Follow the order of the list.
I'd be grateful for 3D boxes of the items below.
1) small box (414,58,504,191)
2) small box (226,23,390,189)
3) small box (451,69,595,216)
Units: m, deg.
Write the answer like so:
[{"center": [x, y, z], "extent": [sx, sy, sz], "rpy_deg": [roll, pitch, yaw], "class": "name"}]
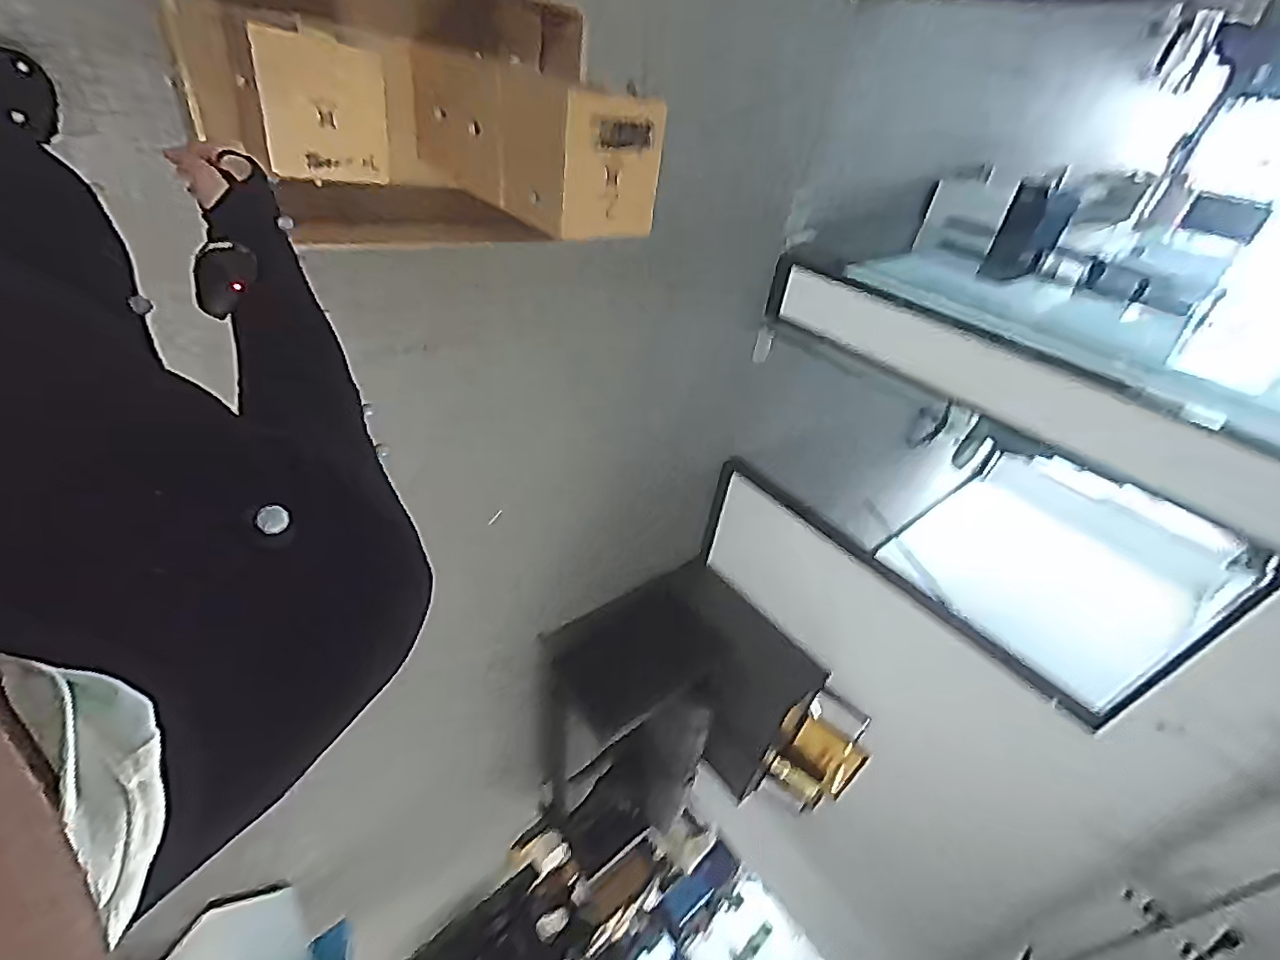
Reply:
[{"center": [-0.296, -0.639, 0.985], "extent": [0.168, 0.176, 0.179], "rpy_deg": [-19, 136, -37], "class": "small box"}, {"center": [-0.500, -0.563, 0.822], "extent": [0.168, 0.176, 0.179], "rpy_deg": [-18, 135, -39], "class": "small box"}, {"center": [-0.196, -0.550, 0.890], "extent": [0.168, 0.176, 0.179], "rpy_deg": [-21, 136, -35], "class": "small box"}]
